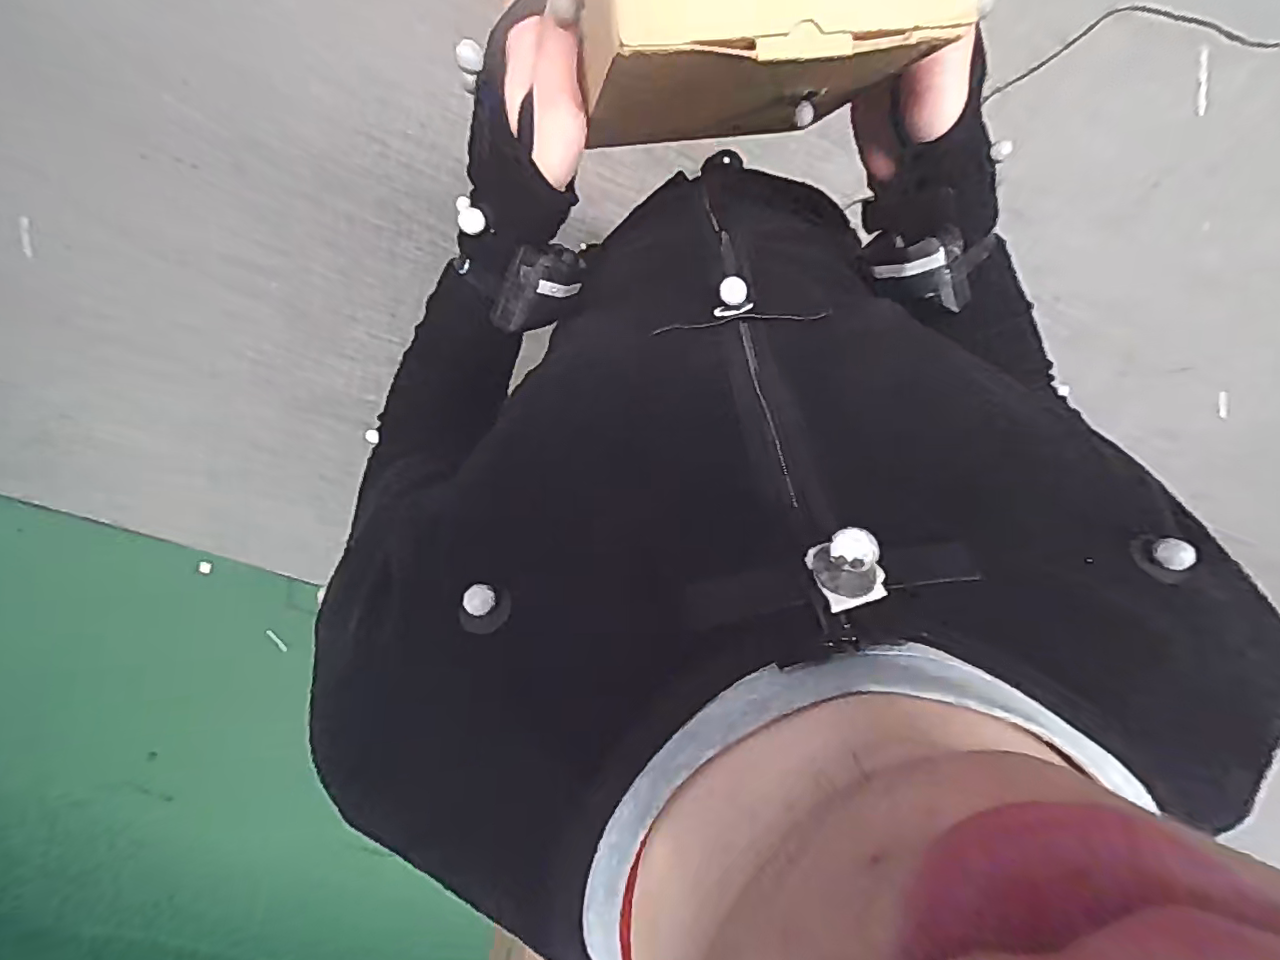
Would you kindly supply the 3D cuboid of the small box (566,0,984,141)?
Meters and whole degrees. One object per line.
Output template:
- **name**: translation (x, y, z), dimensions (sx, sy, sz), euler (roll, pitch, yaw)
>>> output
- **small box**: translation (0.050, -0.292, 0.277), dimensions (0.168, 0.176, 0.179), euler (-10, 110, -9)
